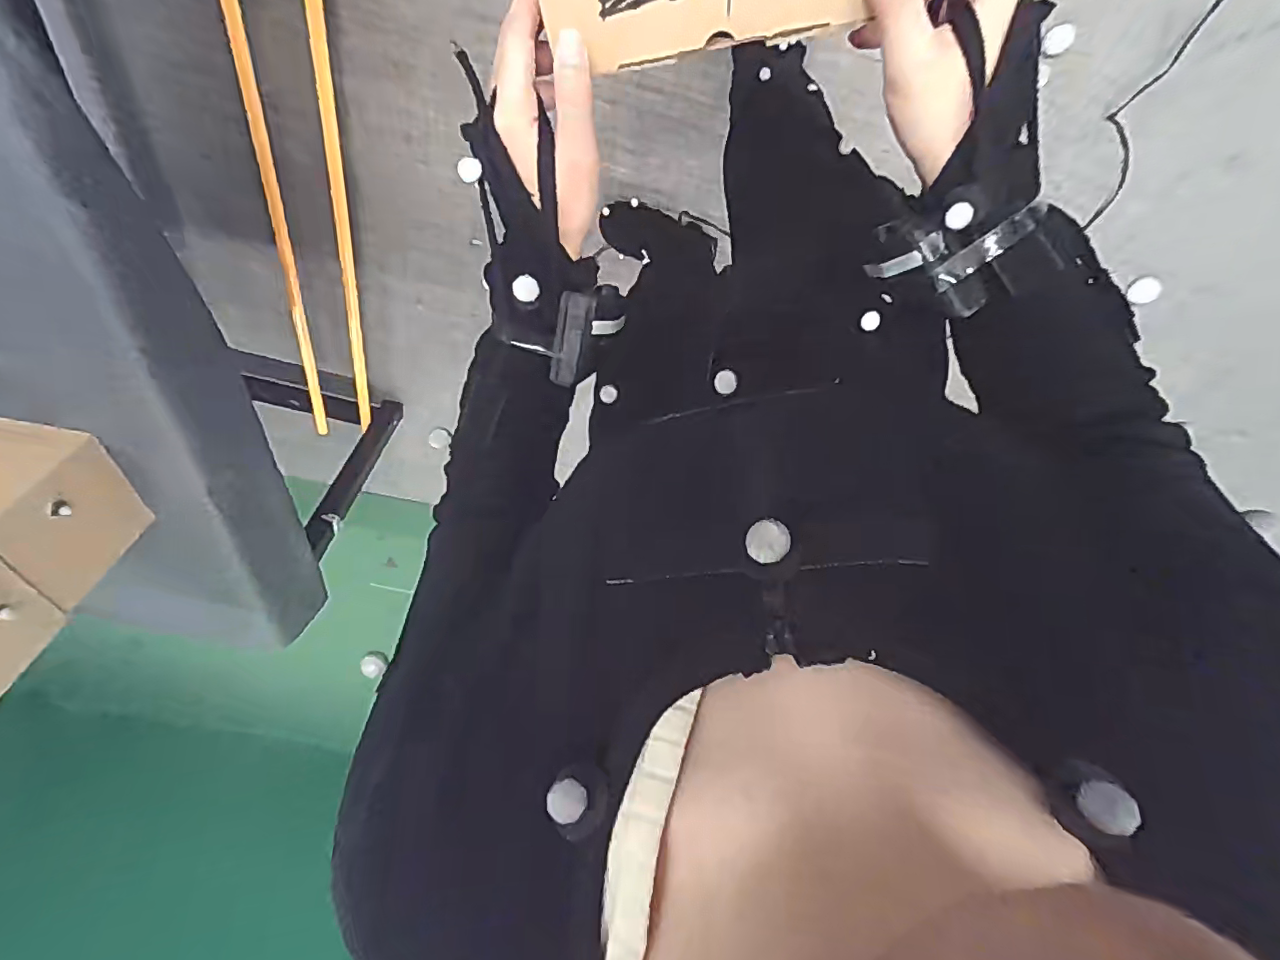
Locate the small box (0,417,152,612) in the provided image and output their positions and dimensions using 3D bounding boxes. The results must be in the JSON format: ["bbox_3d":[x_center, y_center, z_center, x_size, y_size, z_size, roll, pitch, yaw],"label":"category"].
[{"bbox_3d":[-0.790,0.039,0.682,0.168,0.176,0.179,11,137,-4],"label":"small box"}]

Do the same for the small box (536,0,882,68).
[{"bbox_3d":[0.025,-0.329,0.241,0.168,0.176,0.179,-5,144,8],"label":"small box"}]

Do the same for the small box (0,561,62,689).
[{"bbox_3d":[-0.805,0.161,0.573,0.168,0.176,0.179,12,136,-4],"label":"small box"}]
